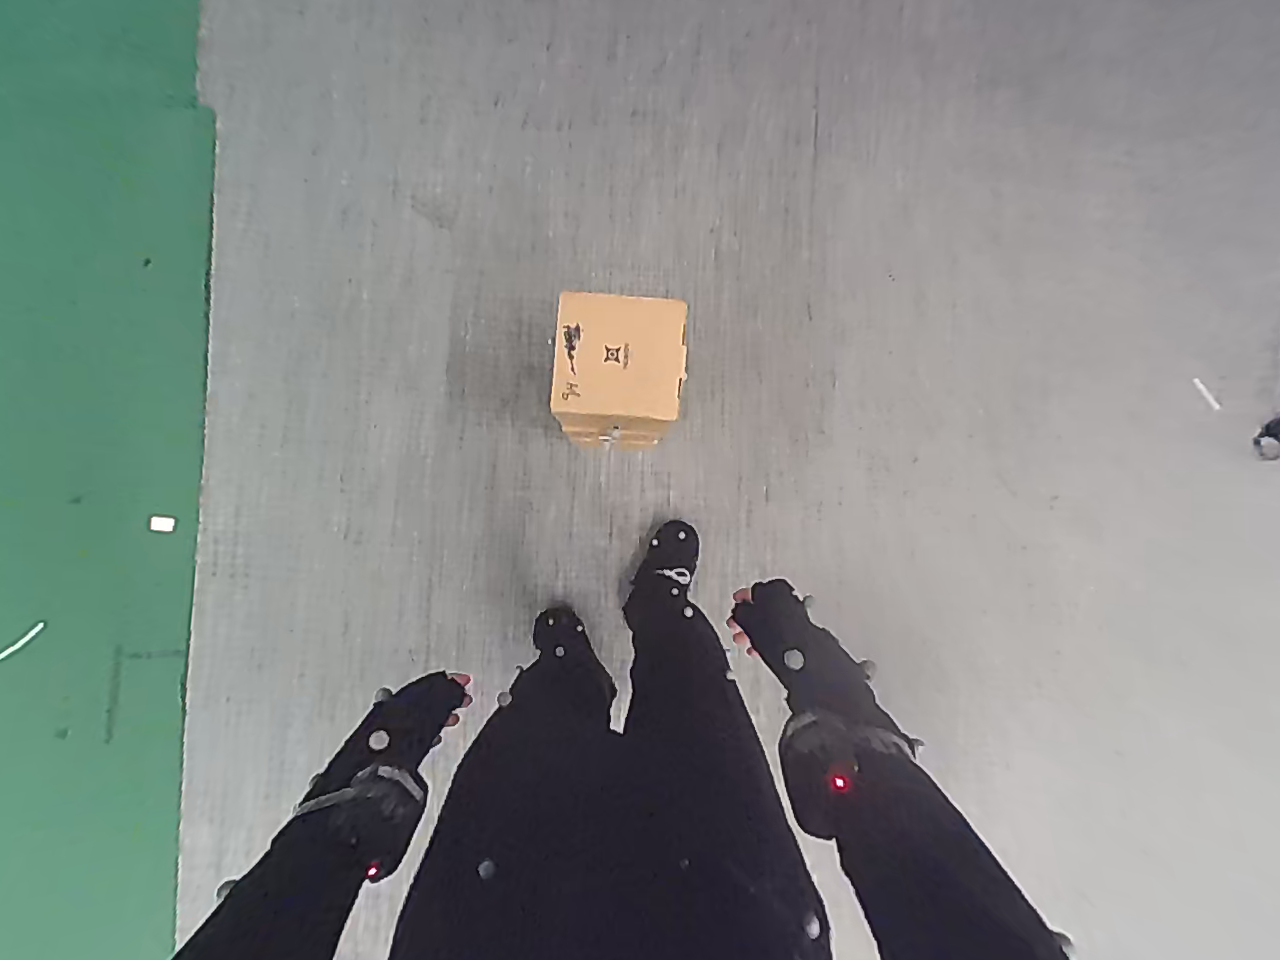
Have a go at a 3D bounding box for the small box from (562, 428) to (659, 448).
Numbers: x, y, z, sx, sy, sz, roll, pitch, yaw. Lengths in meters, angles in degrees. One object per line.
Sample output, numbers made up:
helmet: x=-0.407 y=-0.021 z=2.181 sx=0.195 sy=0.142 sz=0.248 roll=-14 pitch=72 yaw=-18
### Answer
small box: x=-0.049 y=-0.155 z=0.980 sx=0.168 sy=0.176 sz=0.179 roll=2 pitch=90 yaw=-1

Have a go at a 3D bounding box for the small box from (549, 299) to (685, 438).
small box: x=-0.035 y=-0.157 z=0.816 sx=0.179 sy=0.176 sz=0.168 roll=5 pitch=88 yaw=-2

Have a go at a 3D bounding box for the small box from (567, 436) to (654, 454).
small box: x=-0.058 y=-0.144 z=1.157 sx=0.179 sy=0.176 sz=0.168 roll=3 pitch=89 yaw=-3
